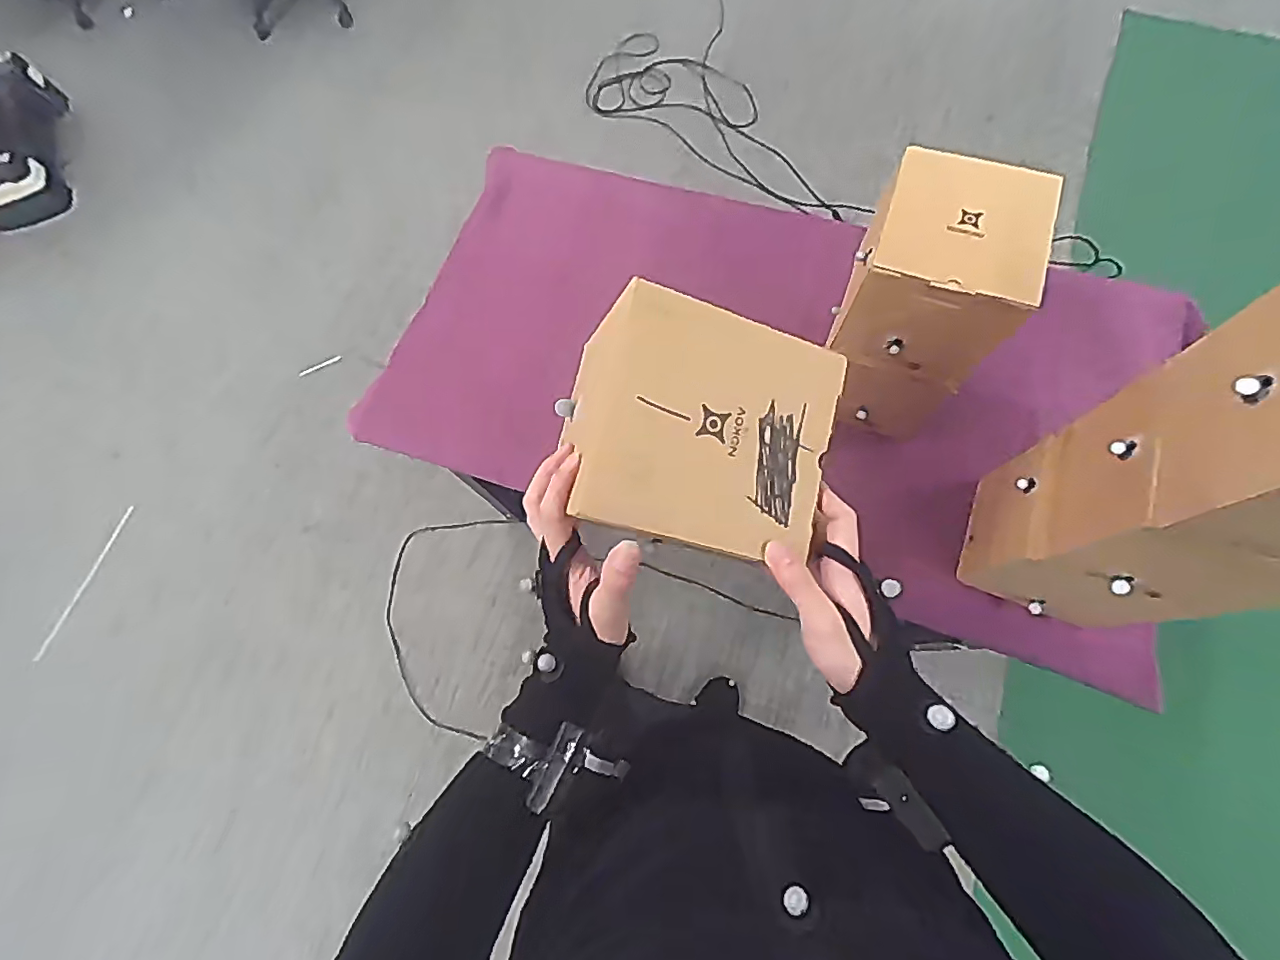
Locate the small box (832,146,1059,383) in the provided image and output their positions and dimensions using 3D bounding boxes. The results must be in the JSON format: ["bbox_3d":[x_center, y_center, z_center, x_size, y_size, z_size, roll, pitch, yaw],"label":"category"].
[{"bbox_3d":[0.346,-0.245,0.643,0.168,0.176,0.179,19,75,9],"label":"small box"}]

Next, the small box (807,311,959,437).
[{"bbox_3d":[0.362,-0.191,0.795,0.168,0.176,0.179,22,75,11],"label":"small box"}]

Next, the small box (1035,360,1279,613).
[{"bbox_3d":[0.541,0.017,0.543,0.168,0.176,0.179,21,74,12],"label":"small box"}]

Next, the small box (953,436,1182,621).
[{"bbox_3d":[0.547,0.072,0.698,0.179,0.176,0.168,21,73,11],"label":"small box"}]
